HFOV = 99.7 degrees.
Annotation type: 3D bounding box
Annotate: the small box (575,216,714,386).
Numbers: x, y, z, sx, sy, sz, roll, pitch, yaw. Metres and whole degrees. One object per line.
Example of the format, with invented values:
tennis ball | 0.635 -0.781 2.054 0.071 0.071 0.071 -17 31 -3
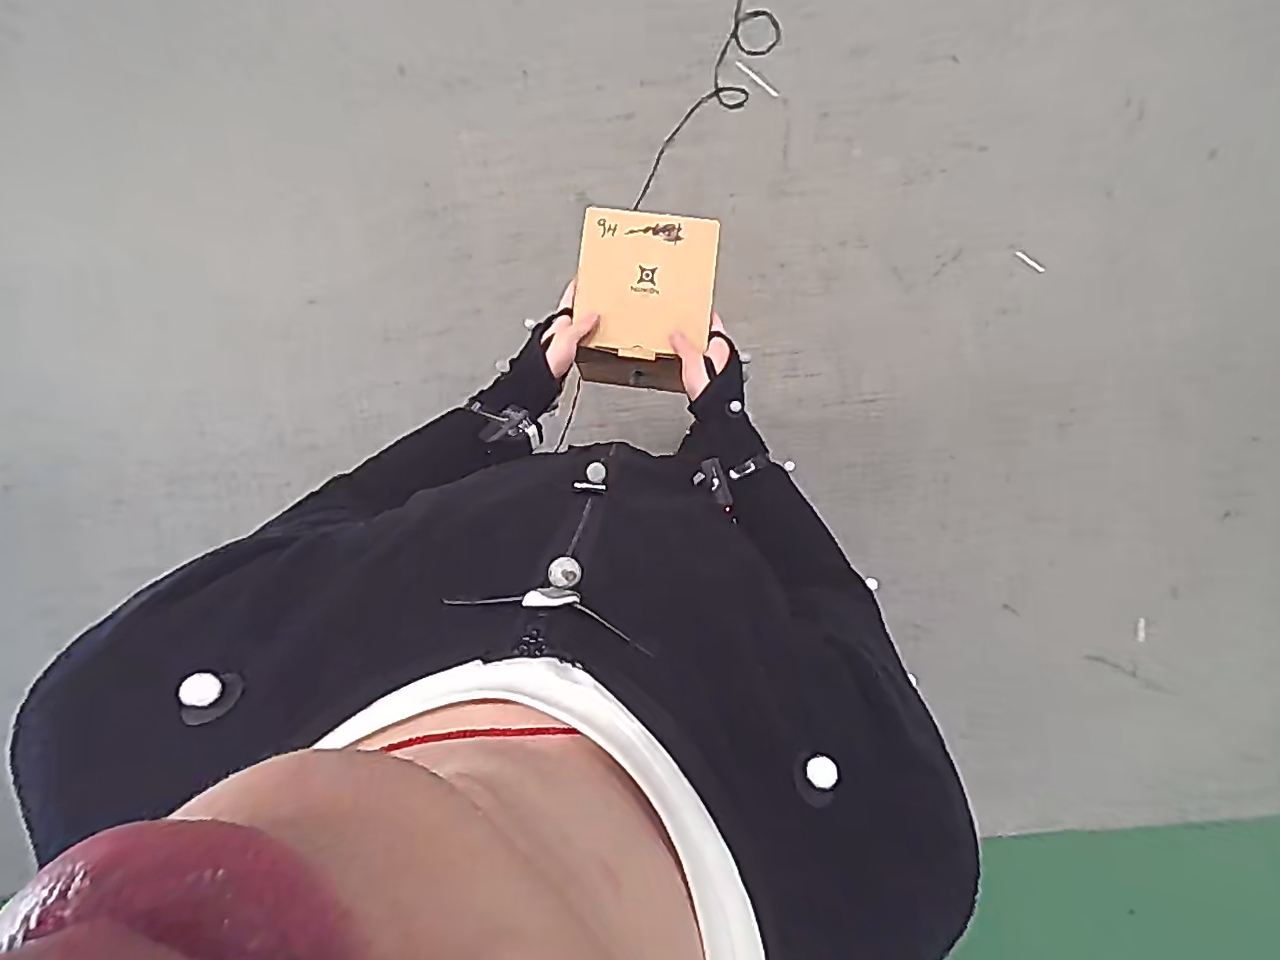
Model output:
small box | 0.007 -0.232 0.744 0.168 0.176 0.179 3 86 0
